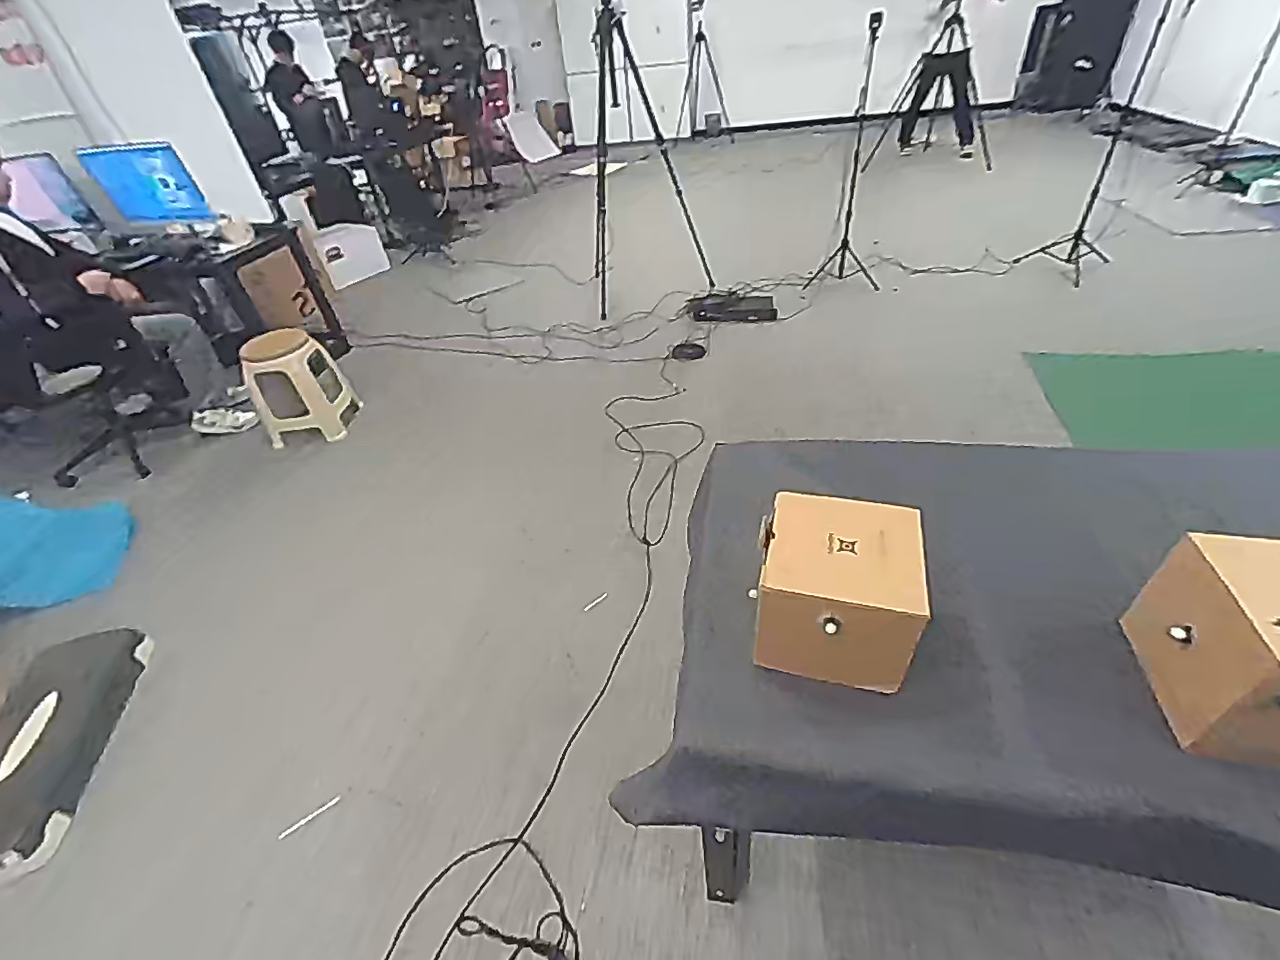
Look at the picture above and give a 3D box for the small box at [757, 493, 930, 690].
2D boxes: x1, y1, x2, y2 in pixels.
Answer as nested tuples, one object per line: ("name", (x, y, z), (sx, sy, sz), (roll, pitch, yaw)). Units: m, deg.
("small box", (0.249, 0.141, 0.688), (0.179, 0.176, 0.168), (8, 43, 16))
